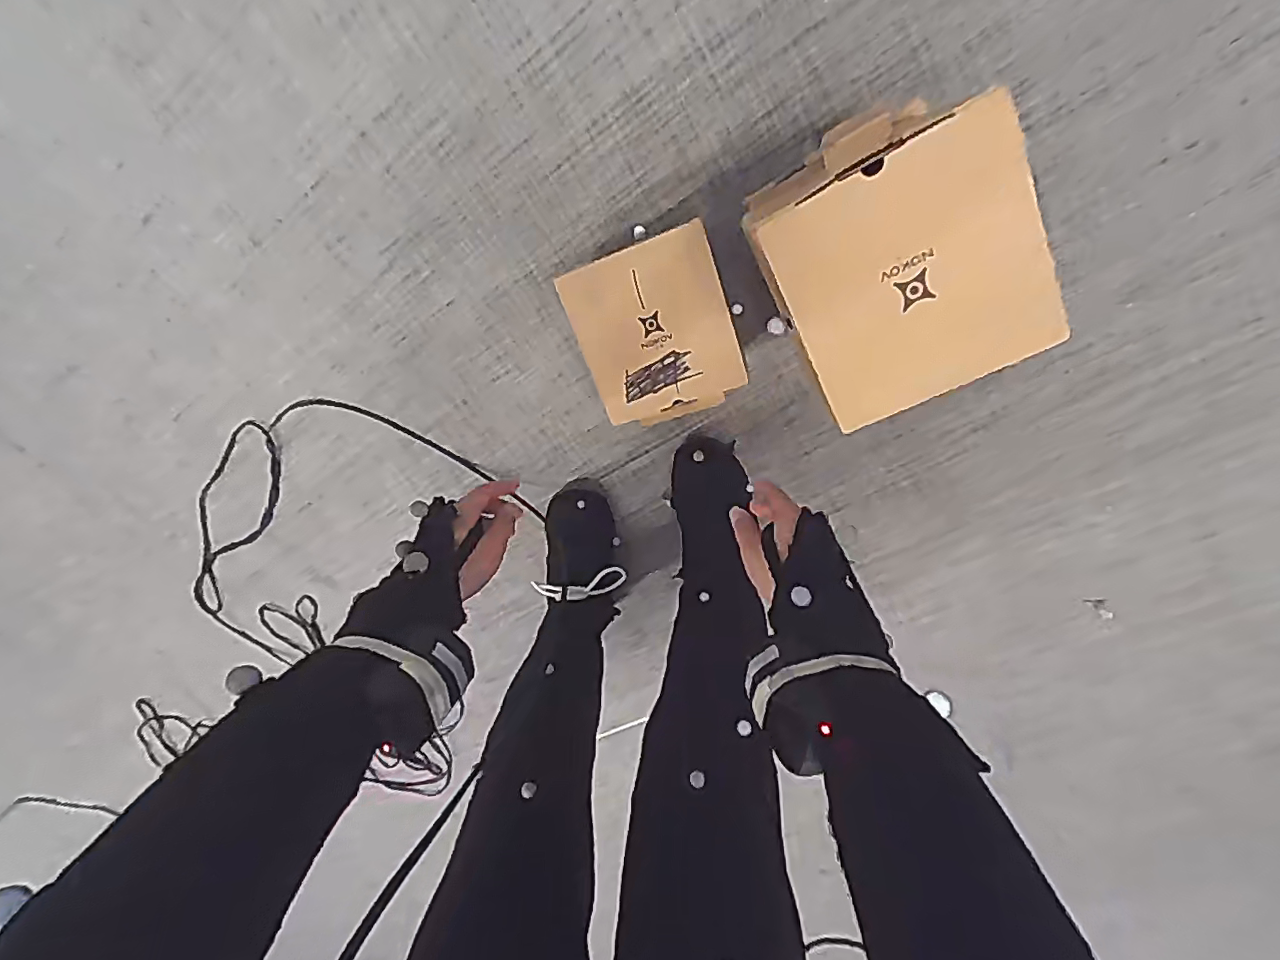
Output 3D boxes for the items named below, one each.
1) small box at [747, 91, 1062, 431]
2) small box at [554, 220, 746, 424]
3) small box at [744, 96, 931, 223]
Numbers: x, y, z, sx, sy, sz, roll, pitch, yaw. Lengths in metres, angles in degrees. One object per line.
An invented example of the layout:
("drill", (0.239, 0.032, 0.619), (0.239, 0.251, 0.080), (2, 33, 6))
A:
("small box", (0.200, -0.174, 0.449), (0.168, 0.176, 0.179), (-24, 111, 19))
("small box", (0.024, -0.194, 0.646), (0.168, 0.176, 0.179), (-16, 112, 15))
("small box", (0.222, -0.262, 0.585), (0.168, 0.176, 0.179), (-25, 110, 18))
